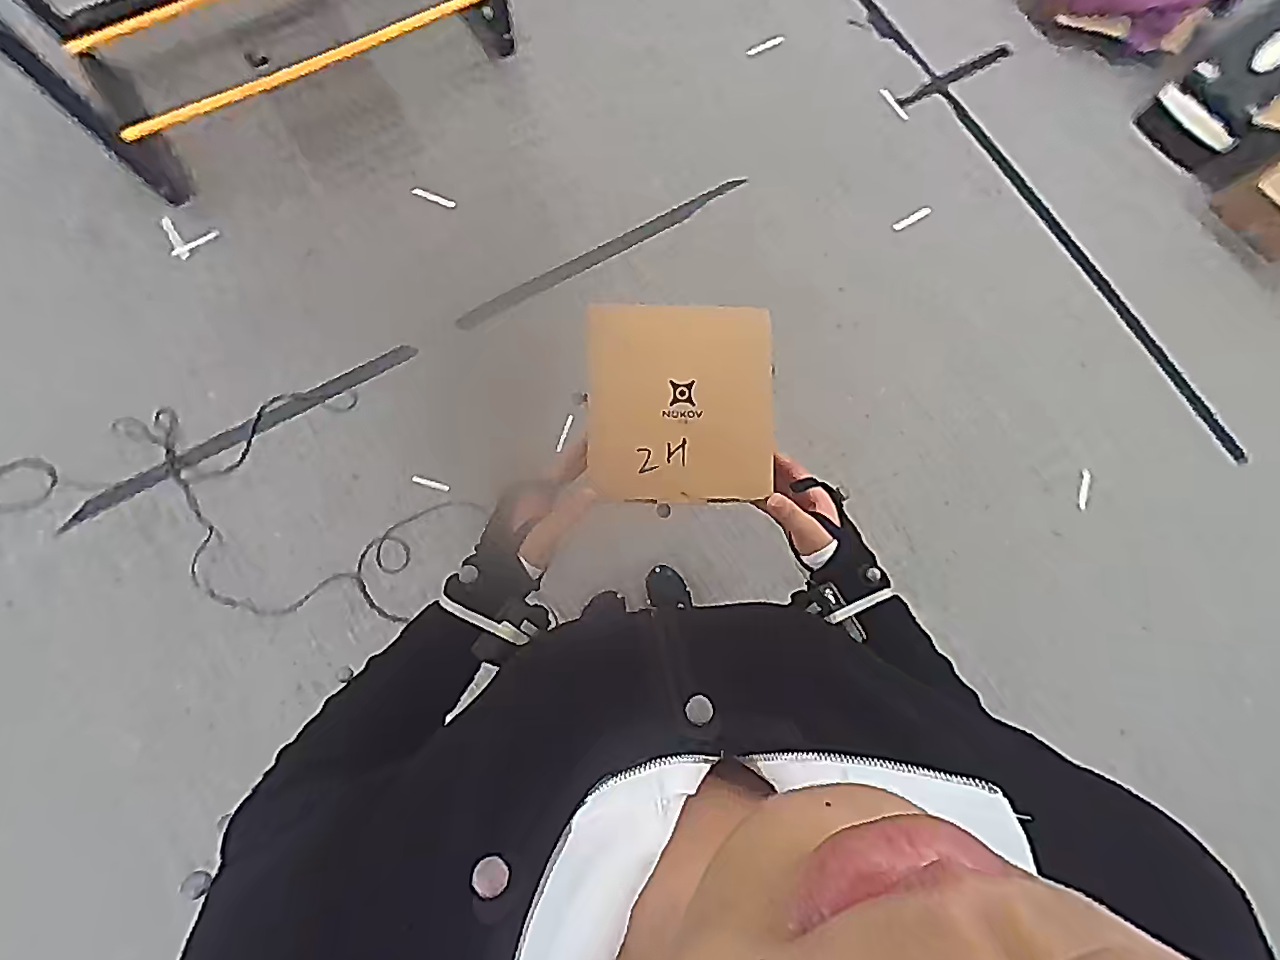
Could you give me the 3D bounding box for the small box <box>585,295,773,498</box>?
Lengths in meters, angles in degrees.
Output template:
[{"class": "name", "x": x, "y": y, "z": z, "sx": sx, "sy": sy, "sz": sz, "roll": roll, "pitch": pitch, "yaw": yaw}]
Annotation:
[{"class": "small box", "x": 0.027, "y": -0.071, "z": 0.551, "sx": 0.168, "sy": 0.176, "sz": 0.179, "roll": -1, "pitch": 88, "yaw": -5}]
